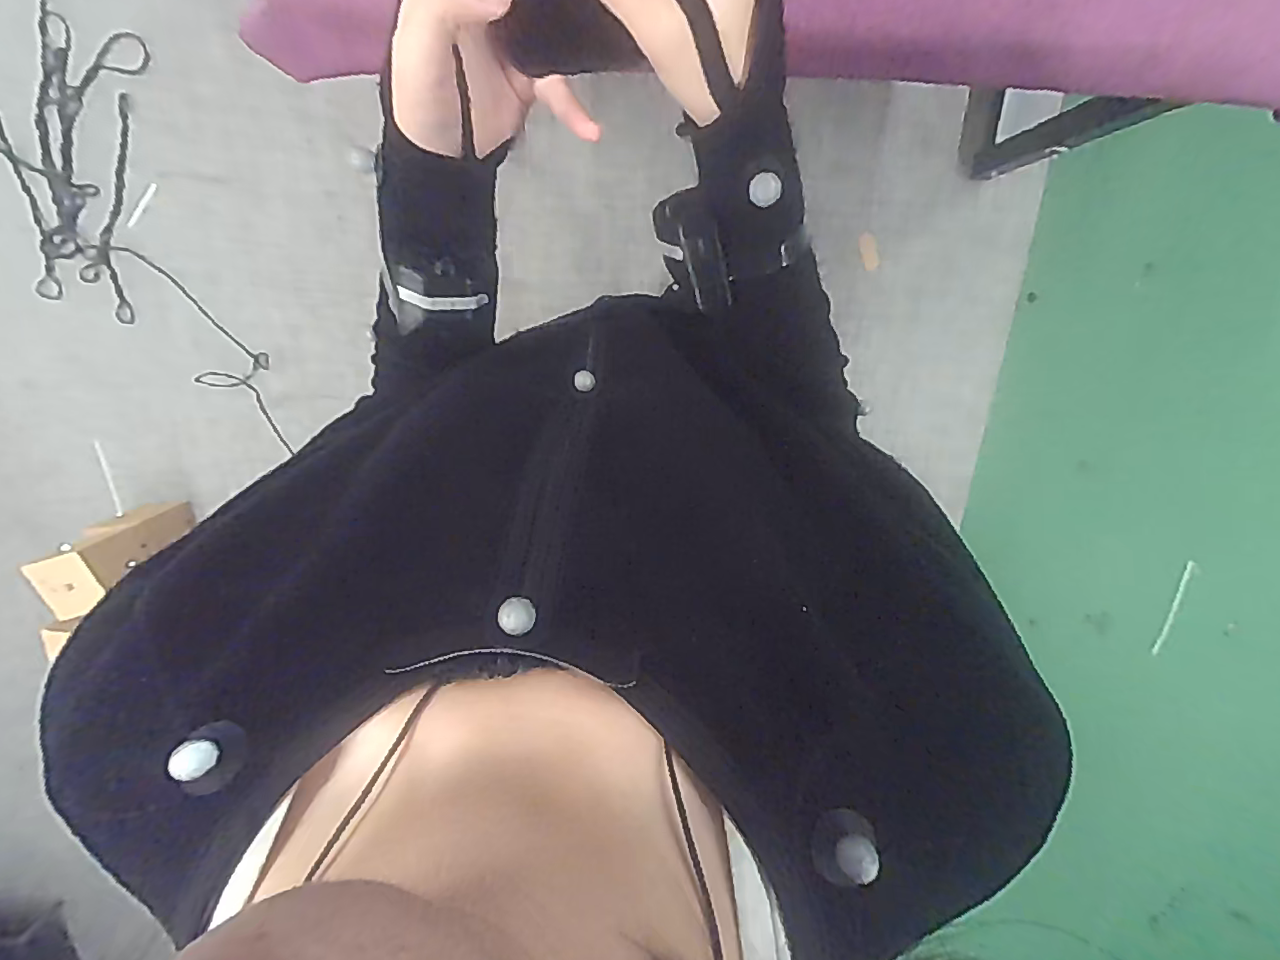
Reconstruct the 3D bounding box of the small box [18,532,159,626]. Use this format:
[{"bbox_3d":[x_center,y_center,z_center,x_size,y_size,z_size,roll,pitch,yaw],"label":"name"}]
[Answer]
[{"bbox_3d":[-1.431,0.254,1.424,0.179,0.176,0.168,-14,108,8],"label":"small box"}]
